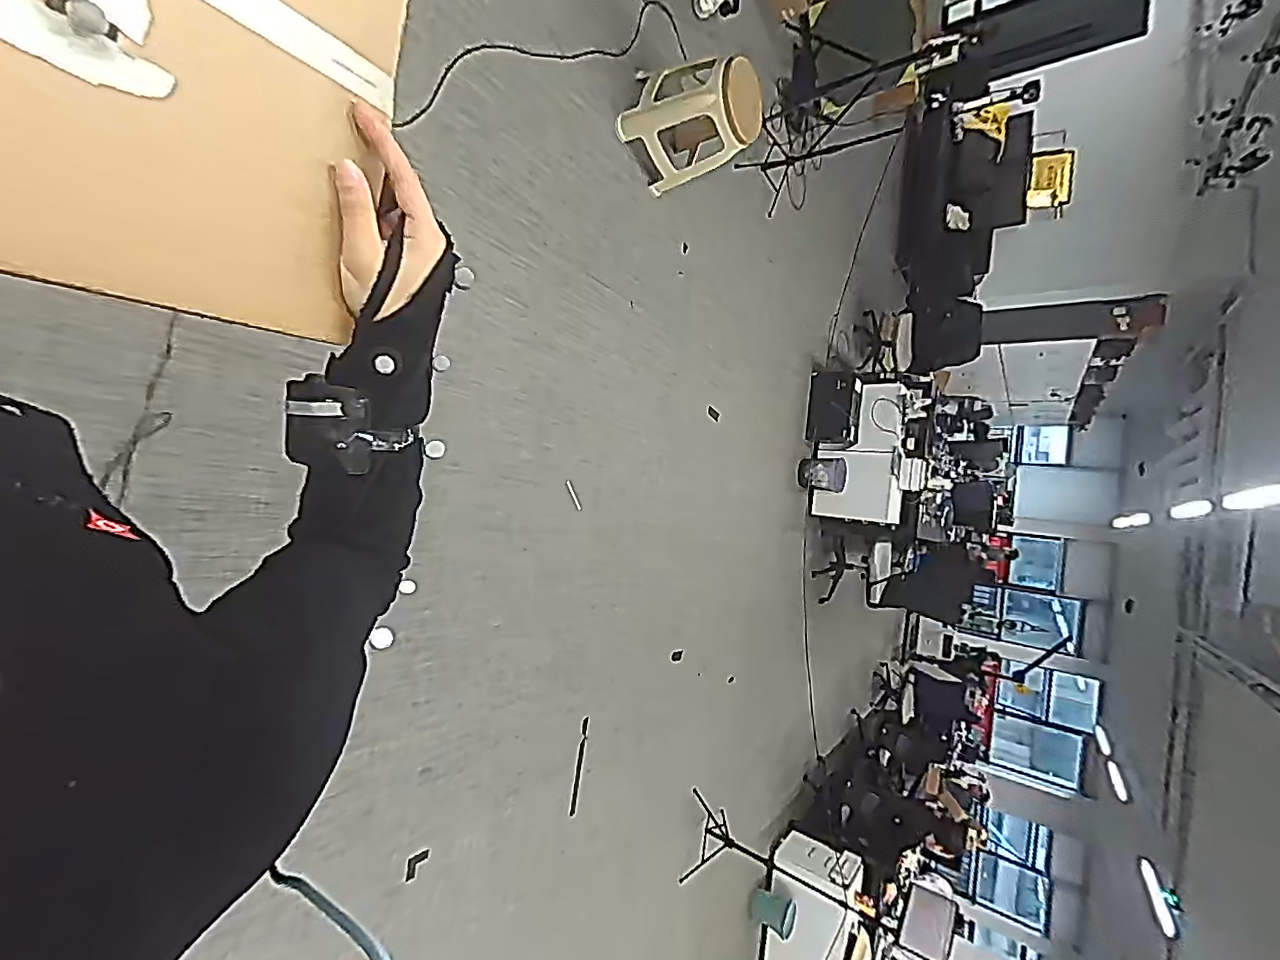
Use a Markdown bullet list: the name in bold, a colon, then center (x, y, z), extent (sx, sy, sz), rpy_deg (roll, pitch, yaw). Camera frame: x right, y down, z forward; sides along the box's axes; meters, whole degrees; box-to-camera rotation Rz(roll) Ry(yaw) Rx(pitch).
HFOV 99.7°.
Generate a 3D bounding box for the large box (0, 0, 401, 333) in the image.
- **large box**: center (-0.397, -0.284, 0.263), extent (0.408, 0.320, 0.320), rpy_deg (0, 106, -58)
